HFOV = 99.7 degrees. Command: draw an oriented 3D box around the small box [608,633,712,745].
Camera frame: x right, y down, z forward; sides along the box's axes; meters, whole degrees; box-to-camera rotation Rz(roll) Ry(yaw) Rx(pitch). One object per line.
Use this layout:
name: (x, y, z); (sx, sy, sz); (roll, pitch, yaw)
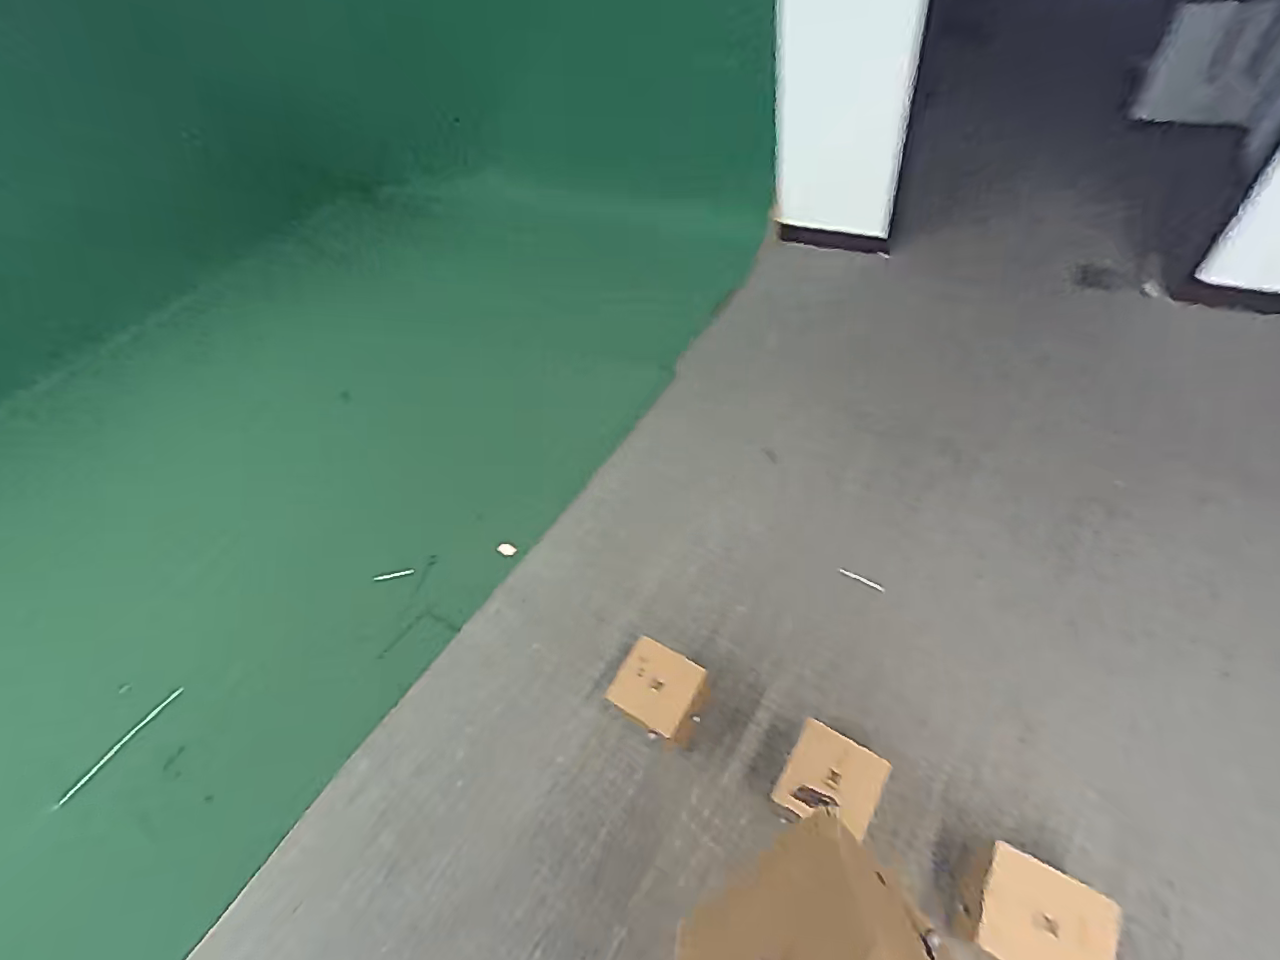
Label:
small box: (0.055, 0.498, 1.273); (0.179, 0.176, 0.168); (23, 61, 28)

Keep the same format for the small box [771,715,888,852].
small box: (0.381, 0.620, 1.099); (0.168, 0.176, 0.179); (24, 62, 28)

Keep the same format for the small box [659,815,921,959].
small box: (0.120, 0.403, 0.396); (0.179, 0.176, 0.168); (-43, 84, 3)

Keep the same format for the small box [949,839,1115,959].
small box: (0.658, 0.757, 0.927); (0.179, 0.176, 0.168); (22, 62, 26)
